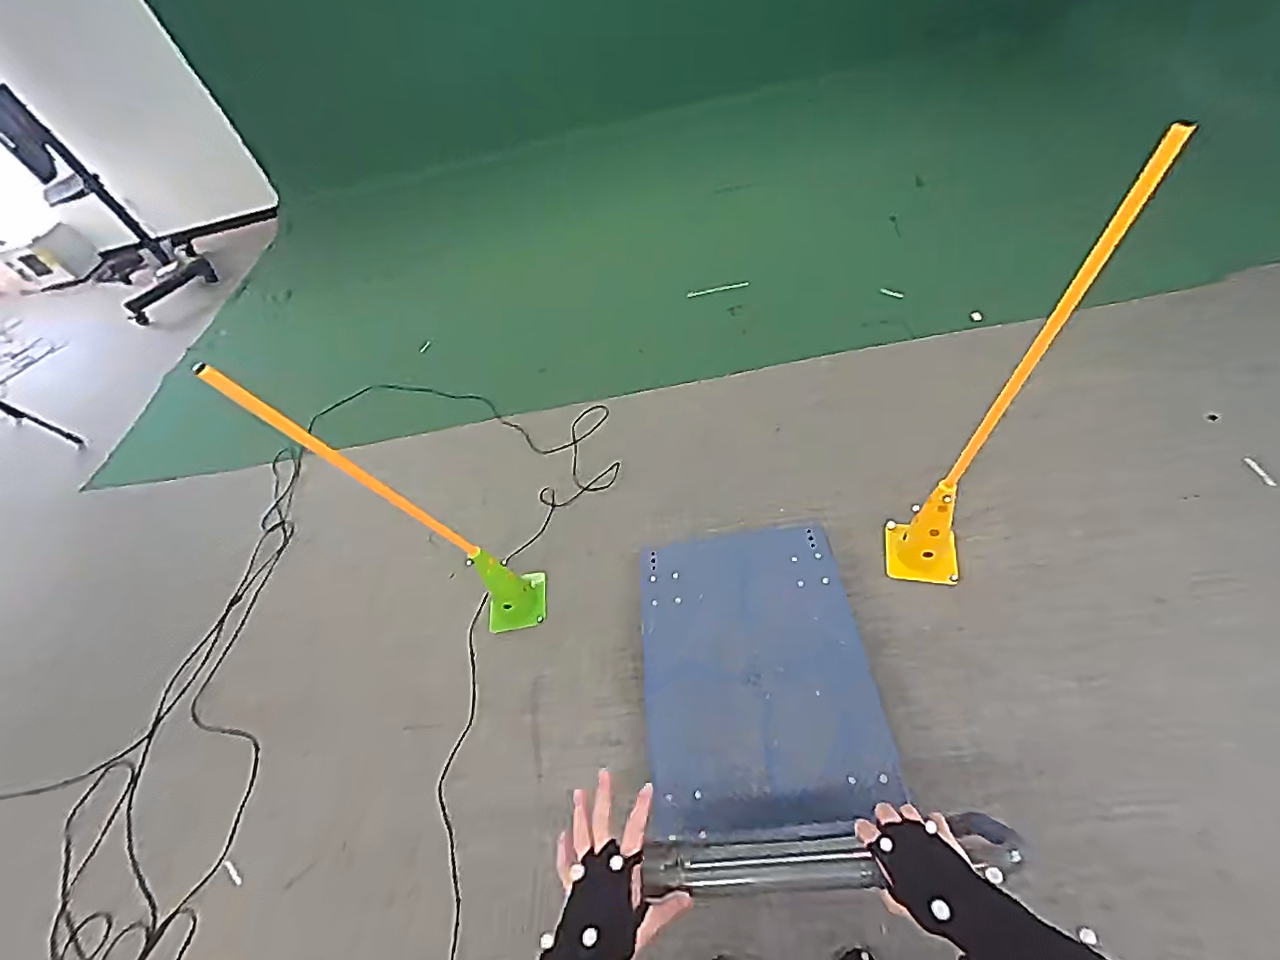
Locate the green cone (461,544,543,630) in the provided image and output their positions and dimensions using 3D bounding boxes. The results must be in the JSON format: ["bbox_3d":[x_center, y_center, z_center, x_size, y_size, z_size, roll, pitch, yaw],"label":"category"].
[{"bbox_3d":[-0.470,0.308,1.746,0.202,0.368,0.200,-14,51,6],"label":"green cone"}]
